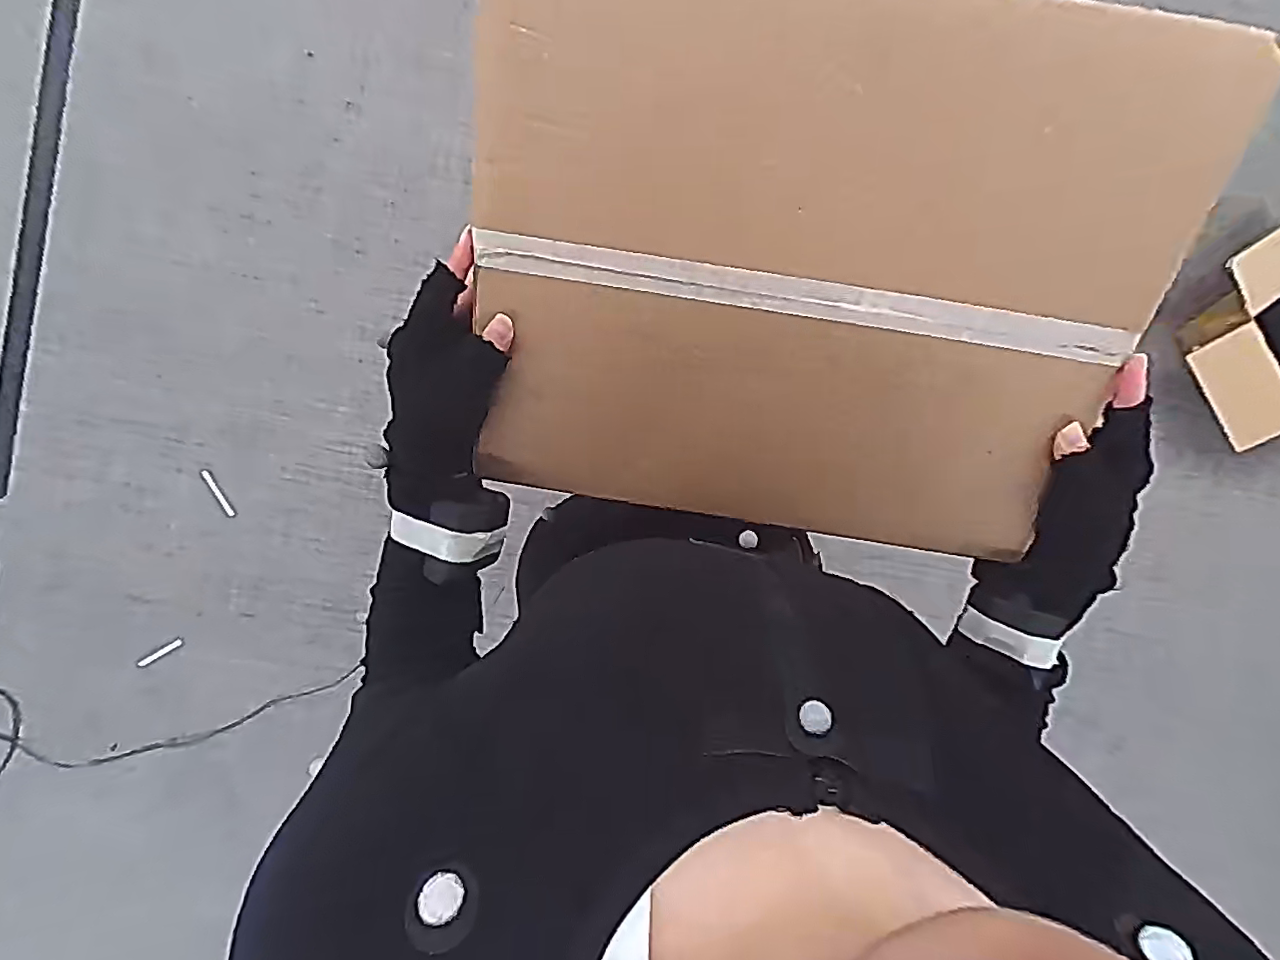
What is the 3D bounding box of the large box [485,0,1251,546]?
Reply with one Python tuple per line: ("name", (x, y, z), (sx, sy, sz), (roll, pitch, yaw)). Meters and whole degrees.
("large box", (0.107, -0.176, 0.474), (0.408, 0.320, 0.320), (9, 116, -1))
